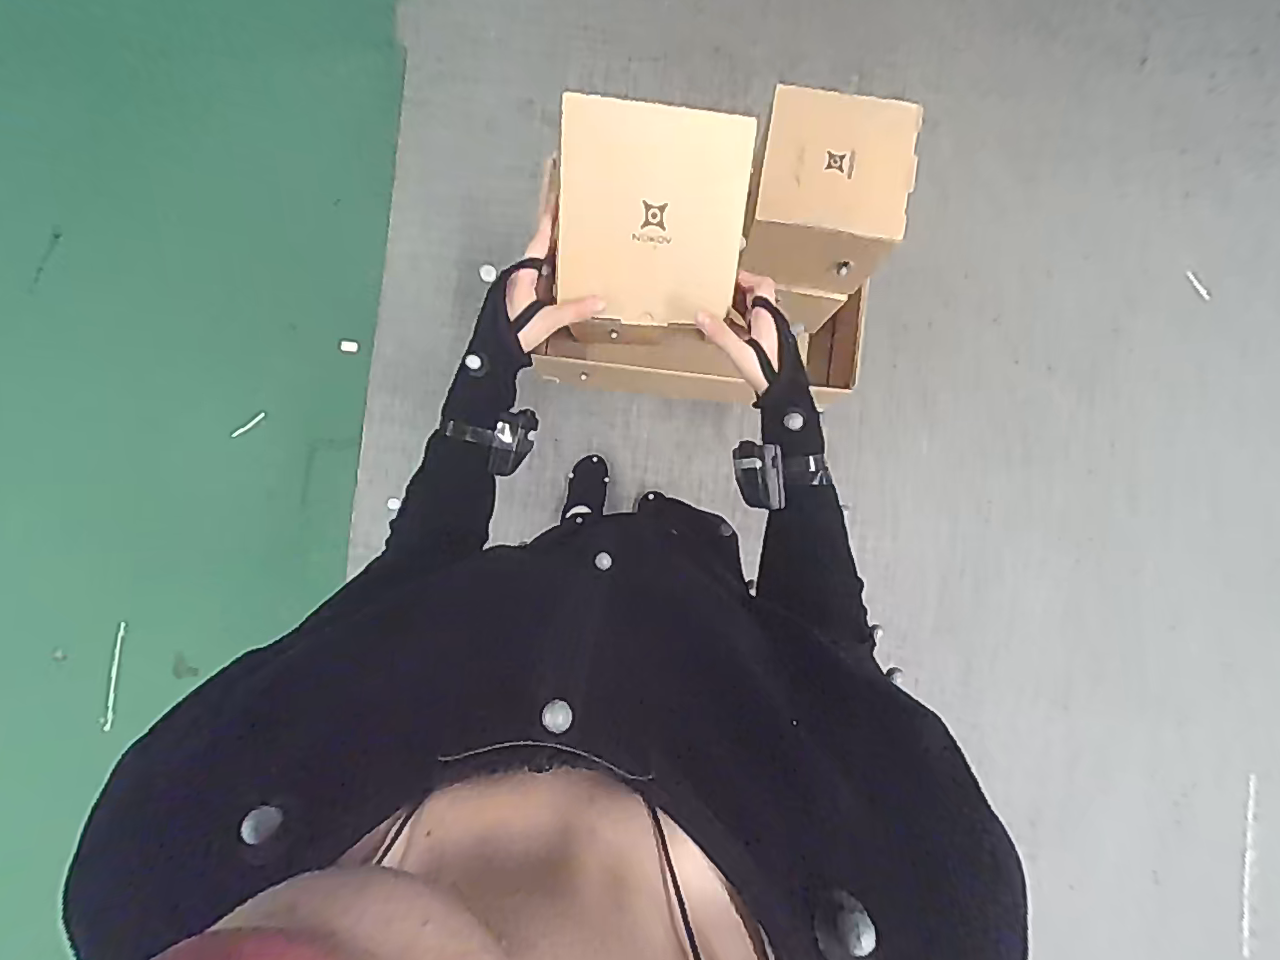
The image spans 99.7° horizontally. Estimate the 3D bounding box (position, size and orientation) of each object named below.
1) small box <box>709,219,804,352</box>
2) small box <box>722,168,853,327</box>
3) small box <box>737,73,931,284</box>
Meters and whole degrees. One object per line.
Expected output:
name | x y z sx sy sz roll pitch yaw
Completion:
small box | 0.228 -0.355 1.020 0.168 0.176 0.179 12 89 3
small box | 0.234 -0.356 0.856 0.179 0.176 0.168 11 89 2
small box | 0.233 -0.369 0.693 0.179 0.176 0.168 10 88 3
